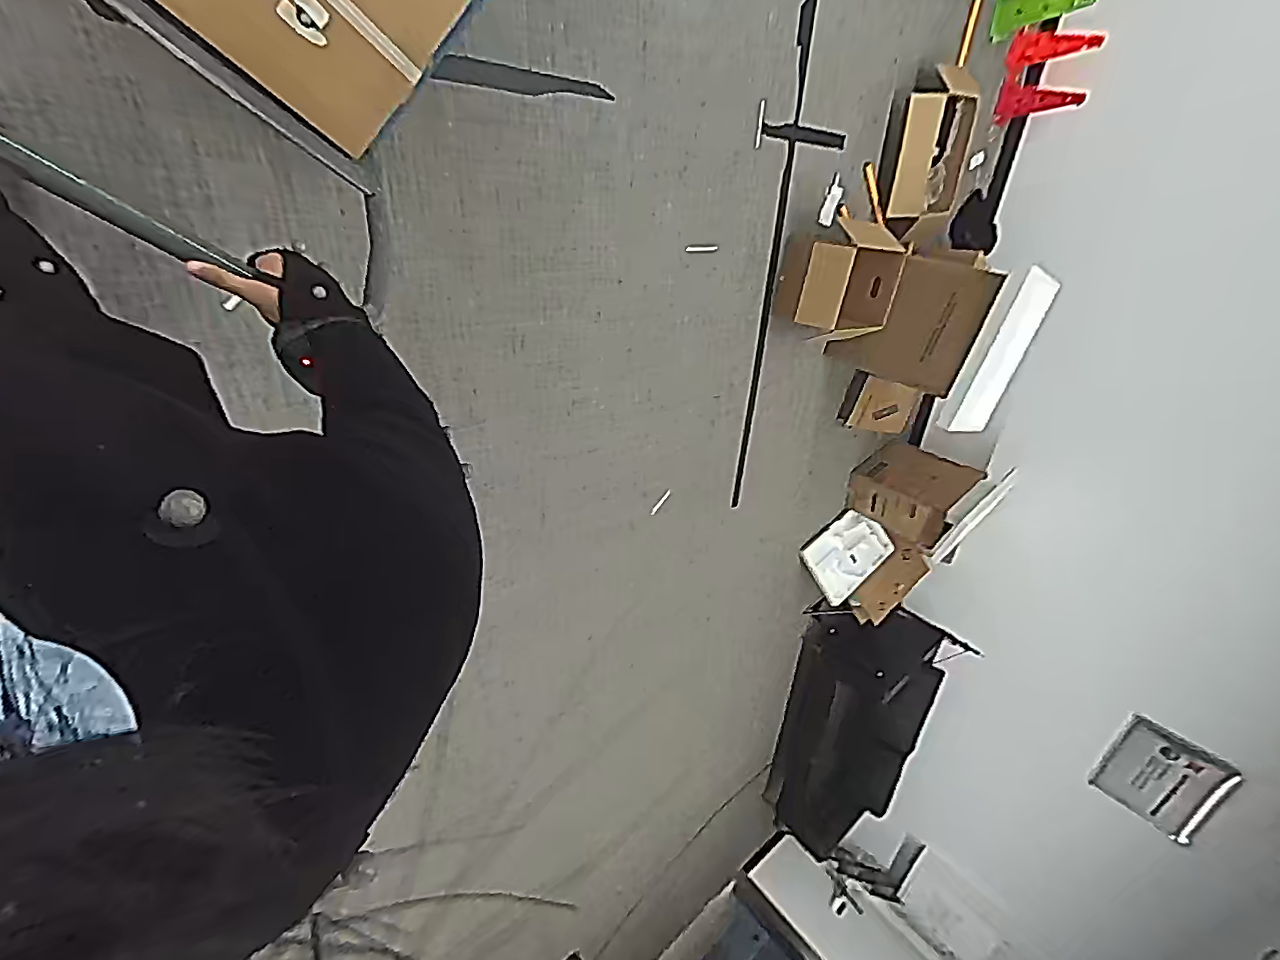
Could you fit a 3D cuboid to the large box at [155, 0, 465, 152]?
[{"bbox_3d":[-0.515,-0.775,0.746,0.320,0.320,0.408,-41,143,16],"label":"large box"}]
